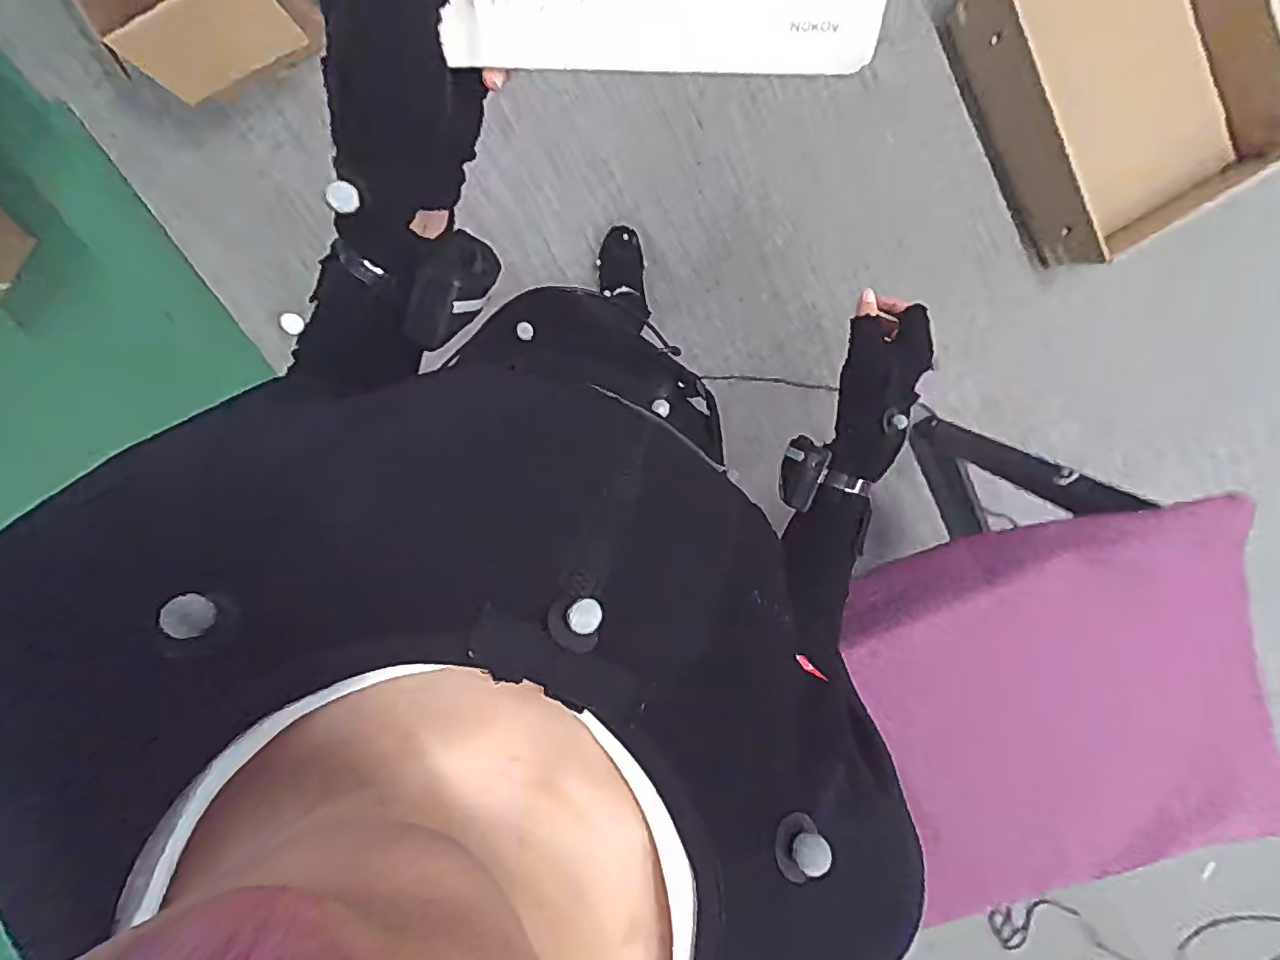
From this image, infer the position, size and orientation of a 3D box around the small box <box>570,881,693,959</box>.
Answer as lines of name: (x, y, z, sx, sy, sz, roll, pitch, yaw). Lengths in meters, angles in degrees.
small box: (-0.009, 0.831, 0.913, 0.168, 0.176, 0.179, -22, 107, 8)
